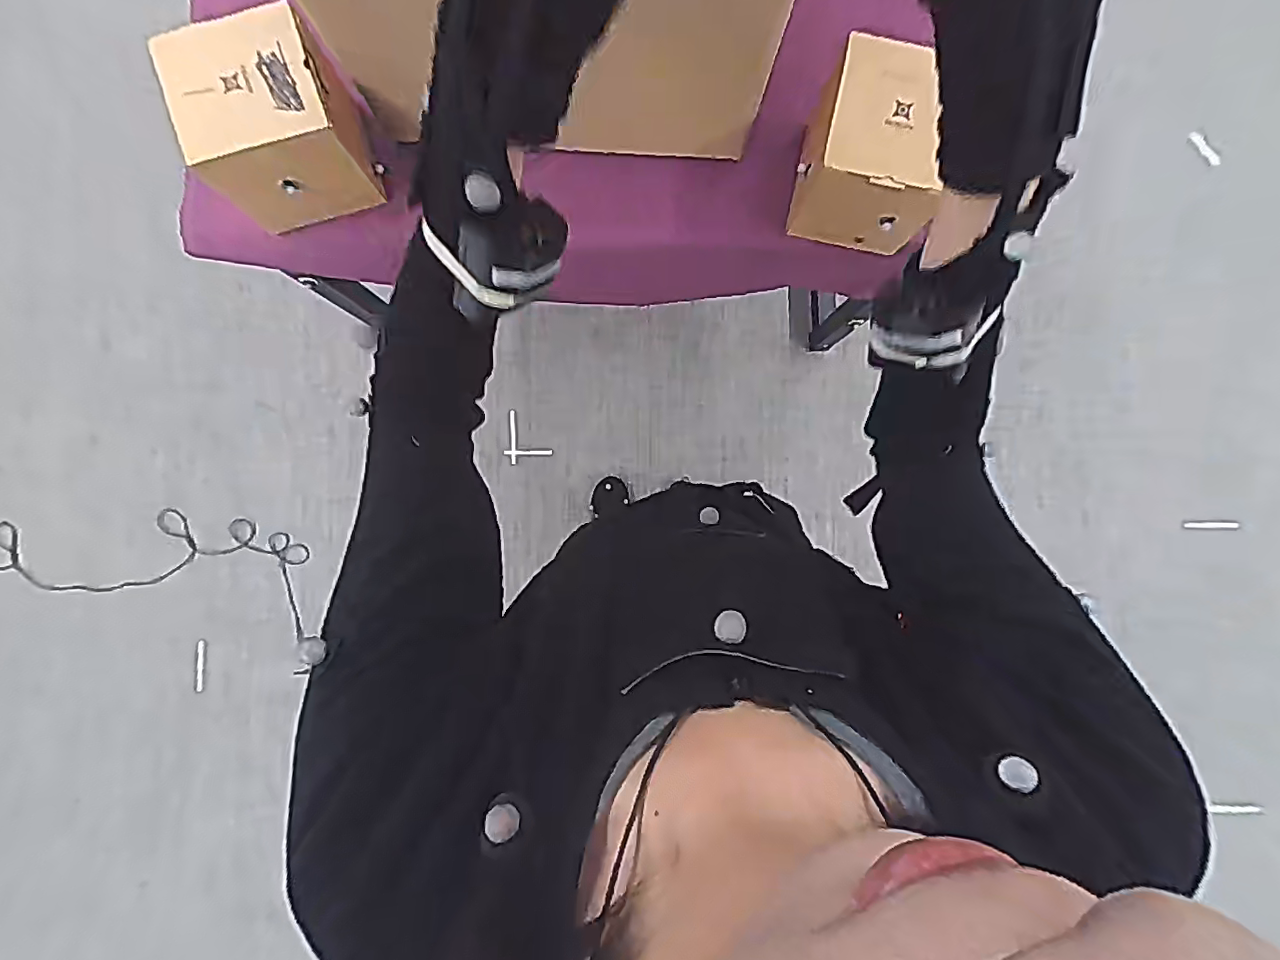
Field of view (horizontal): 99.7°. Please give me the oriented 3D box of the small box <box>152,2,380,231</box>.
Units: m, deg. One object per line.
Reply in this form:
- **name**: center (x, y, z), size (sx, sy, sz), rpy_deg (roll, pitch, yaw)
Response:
- **small box**: center (-0.474, -0.467, 0.720), size (0.179, 0.176, 0.168), rpy_deg (-18, 88, -3)

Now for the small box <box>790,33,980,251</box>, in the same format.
- **small box**: center (0.315, -0.439, 0.733), size (0.168, 0.176, 0.179), rpy_deg (12, 87, -1)
